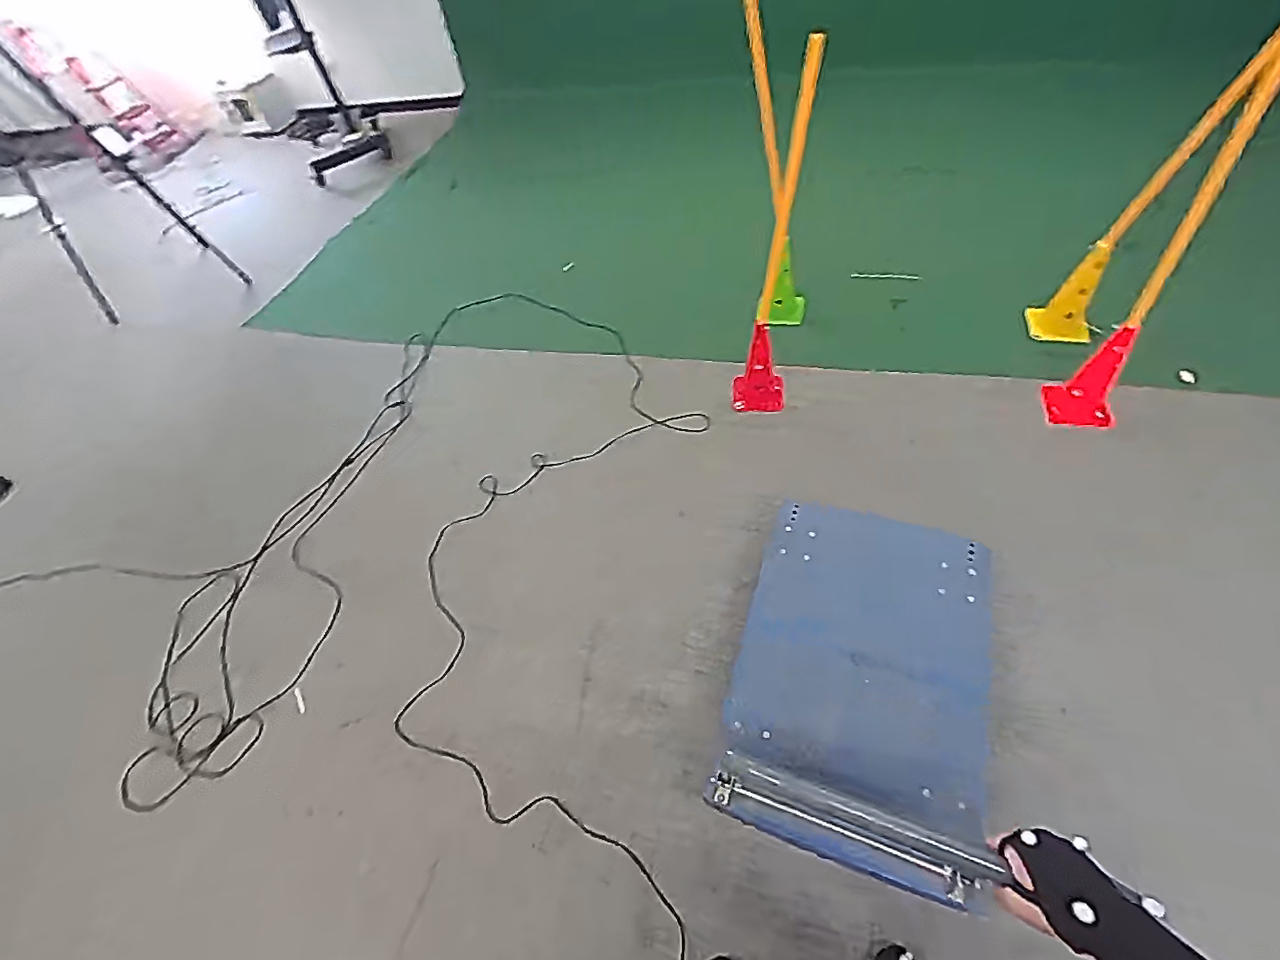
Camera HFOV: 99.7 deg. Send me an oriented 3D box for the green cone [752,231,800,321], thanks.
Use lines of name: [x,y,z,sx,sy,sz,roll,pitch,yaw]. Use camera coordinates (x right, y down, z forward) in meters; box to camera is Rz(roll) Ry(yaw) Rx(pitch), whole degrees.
green cone: [0.601,-0.895,2.345,0.200,0.368,0.202,6,54,15]

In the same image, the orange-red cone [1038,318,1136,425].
orange-red cone: [1.527,-0.382,1.802,0.198,0.360,0.199,7,53,14]
